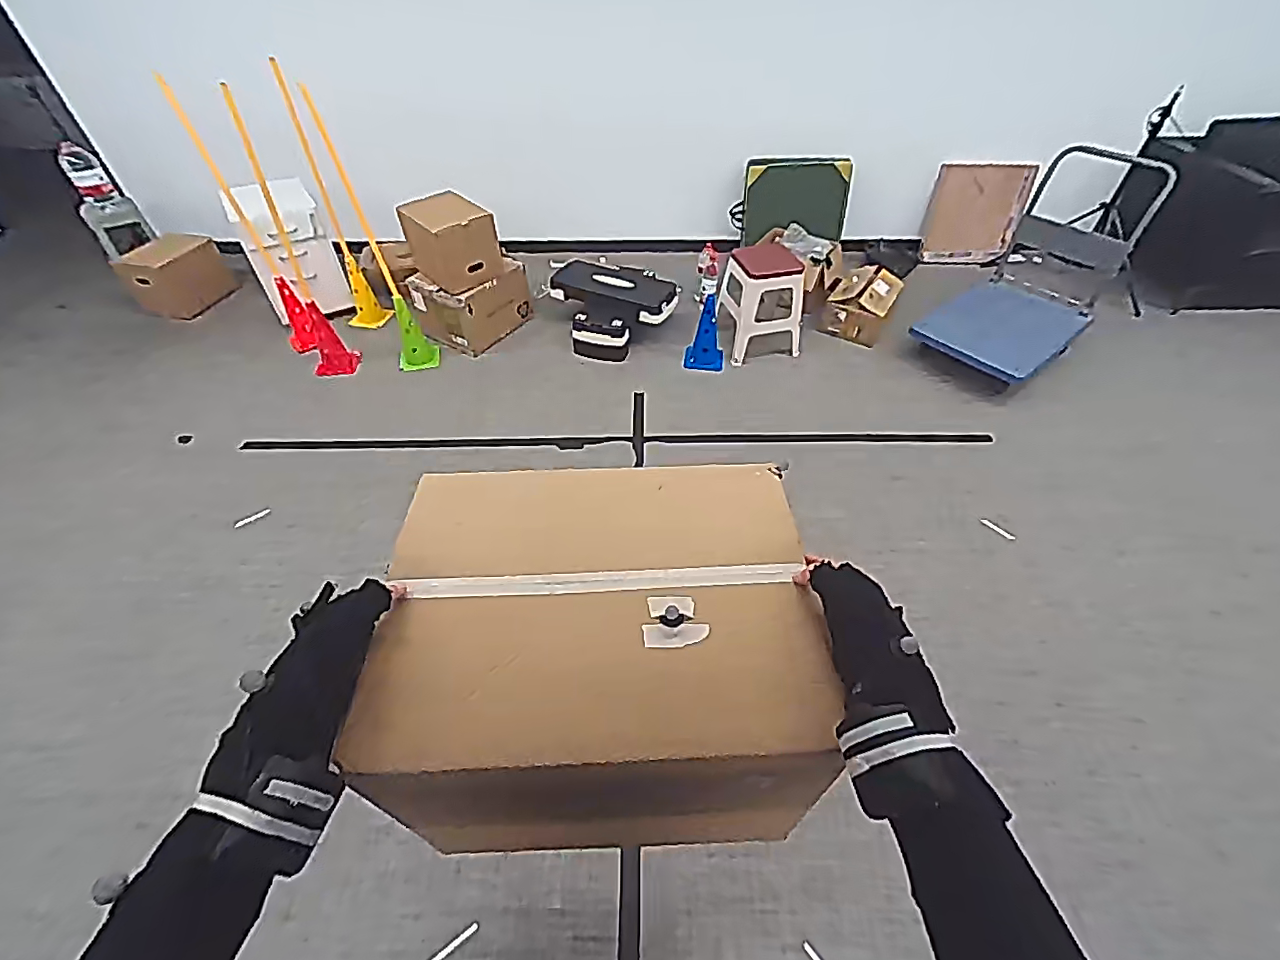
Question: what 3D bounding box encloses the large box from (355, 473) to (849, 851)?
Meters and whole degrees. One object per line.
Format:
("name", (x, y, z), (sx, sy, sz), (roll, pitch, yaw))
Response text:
("large box", (-0.035, 0.212, 0.636), (0.408, 0.320, 0.320), (-2, 46, -1))
